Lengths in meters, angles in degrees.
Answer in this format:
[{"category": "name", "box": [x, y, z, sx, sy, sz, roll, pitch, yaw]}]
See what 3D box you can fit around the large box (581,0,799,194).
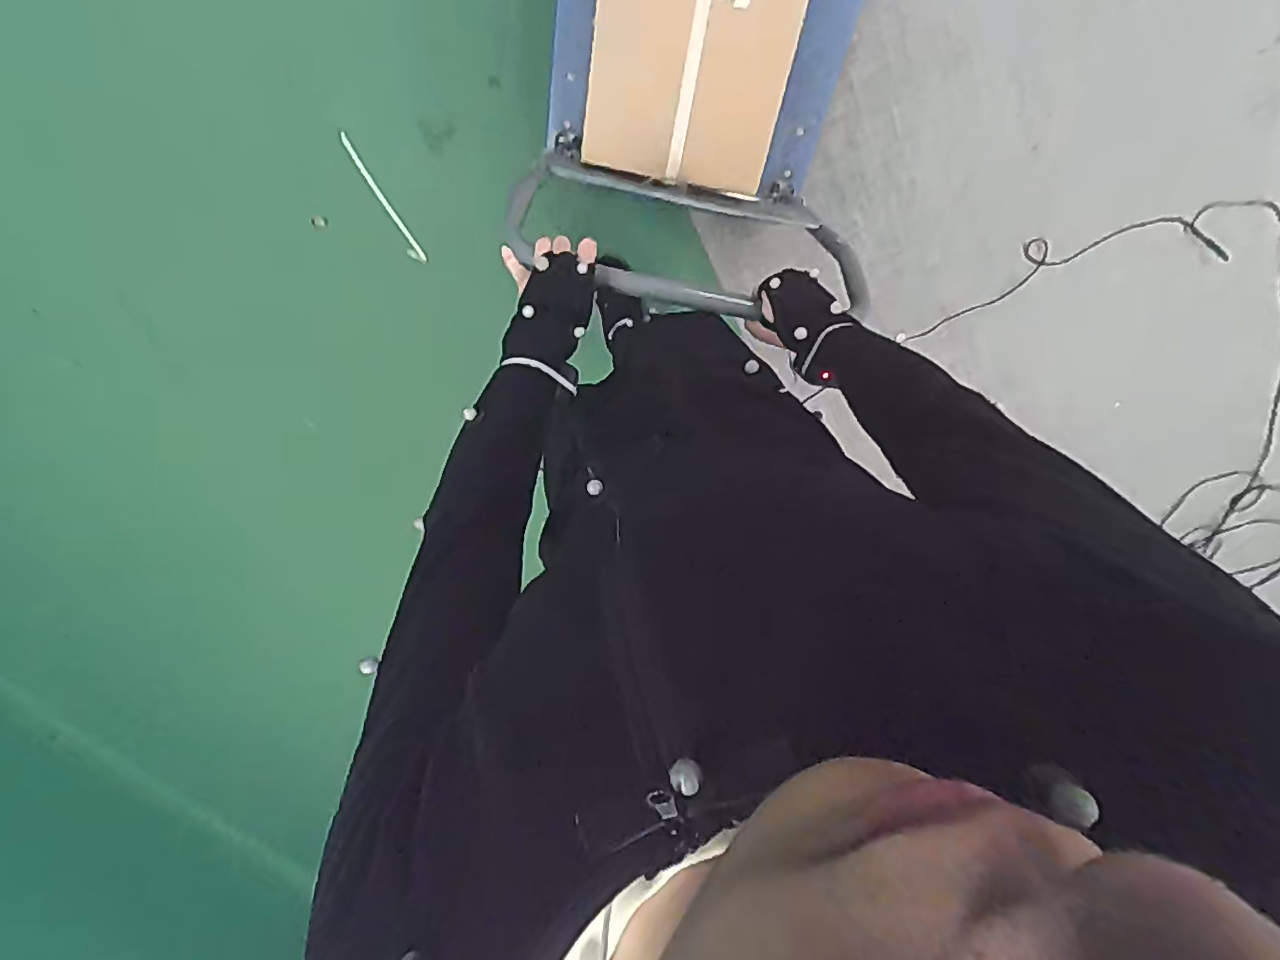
[{"category": "large box", "box": [0.081, -0.772, 0.974, 0.320, 0.320, 0.408, 8, 122, -6]}]
